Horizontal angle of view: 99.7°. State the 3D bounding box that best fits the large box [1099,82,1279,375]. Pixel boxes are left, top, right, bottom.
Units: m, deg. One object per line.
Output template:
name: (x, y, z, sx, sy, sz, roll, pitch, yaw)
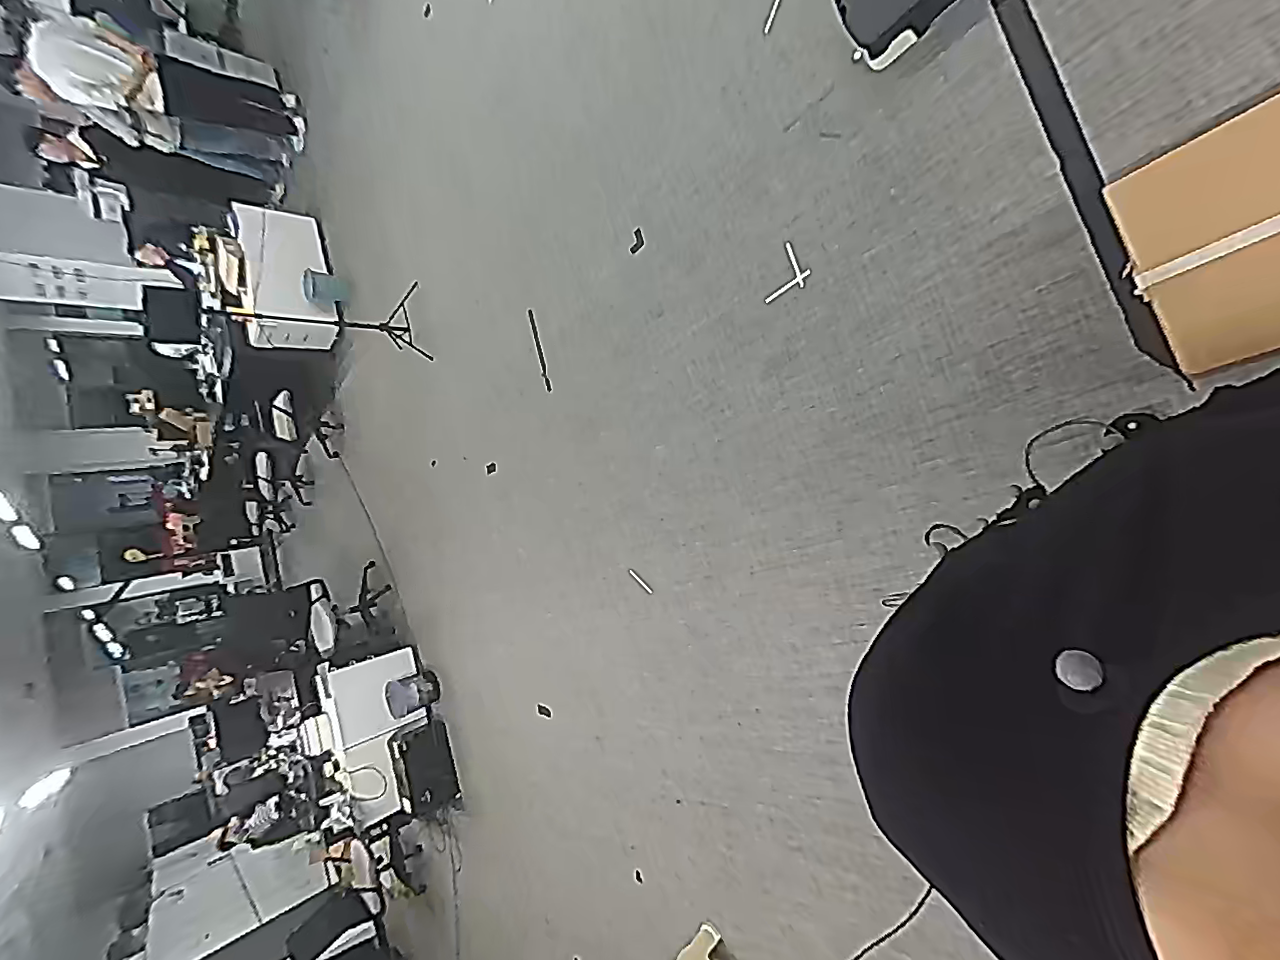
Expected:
large box: (0.962, -0.374, 0.757, 0.408, 0.320, 0.320, -24, 79, 45)
